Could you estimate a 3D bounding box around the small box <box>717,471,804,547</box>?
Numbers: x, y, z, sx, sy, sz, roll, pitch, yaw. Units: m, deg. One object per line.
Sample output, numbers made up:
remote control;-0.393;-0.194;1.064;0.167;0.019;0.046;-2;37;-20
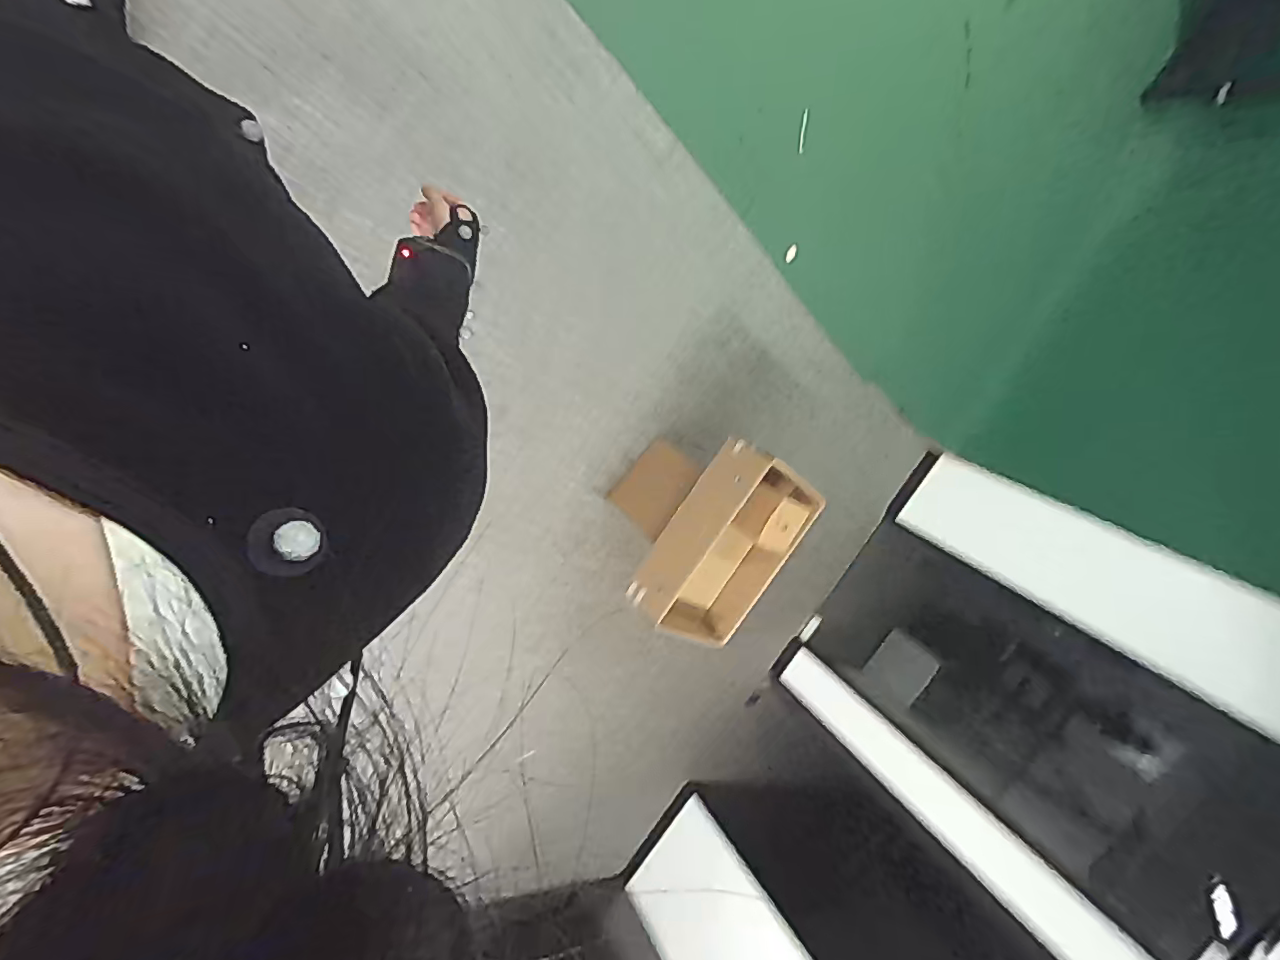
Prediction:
small box;0.384;0.090;1.741;0.179;0.176;0.168;23;100;-43
